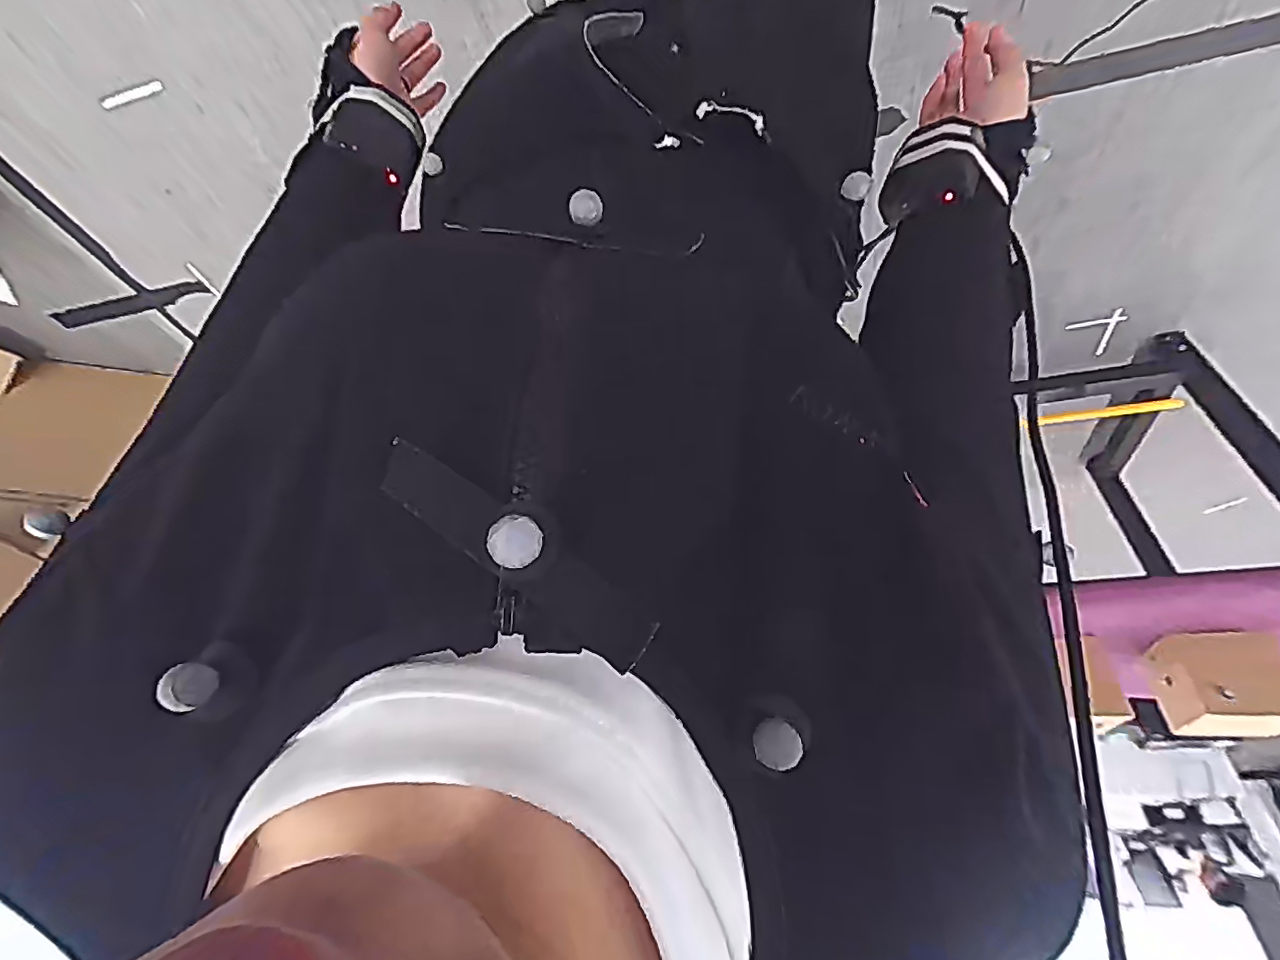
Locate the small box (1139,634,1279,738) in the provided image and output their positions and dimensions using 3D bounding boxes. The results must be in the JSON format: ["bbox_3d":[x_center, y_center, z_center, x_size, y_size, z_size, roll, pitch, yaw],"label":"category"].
[{"bbox_3d":[1.223,0.436,1.147,0.179,0.176,0.168,-7,142,17],"label":"small box"}]
